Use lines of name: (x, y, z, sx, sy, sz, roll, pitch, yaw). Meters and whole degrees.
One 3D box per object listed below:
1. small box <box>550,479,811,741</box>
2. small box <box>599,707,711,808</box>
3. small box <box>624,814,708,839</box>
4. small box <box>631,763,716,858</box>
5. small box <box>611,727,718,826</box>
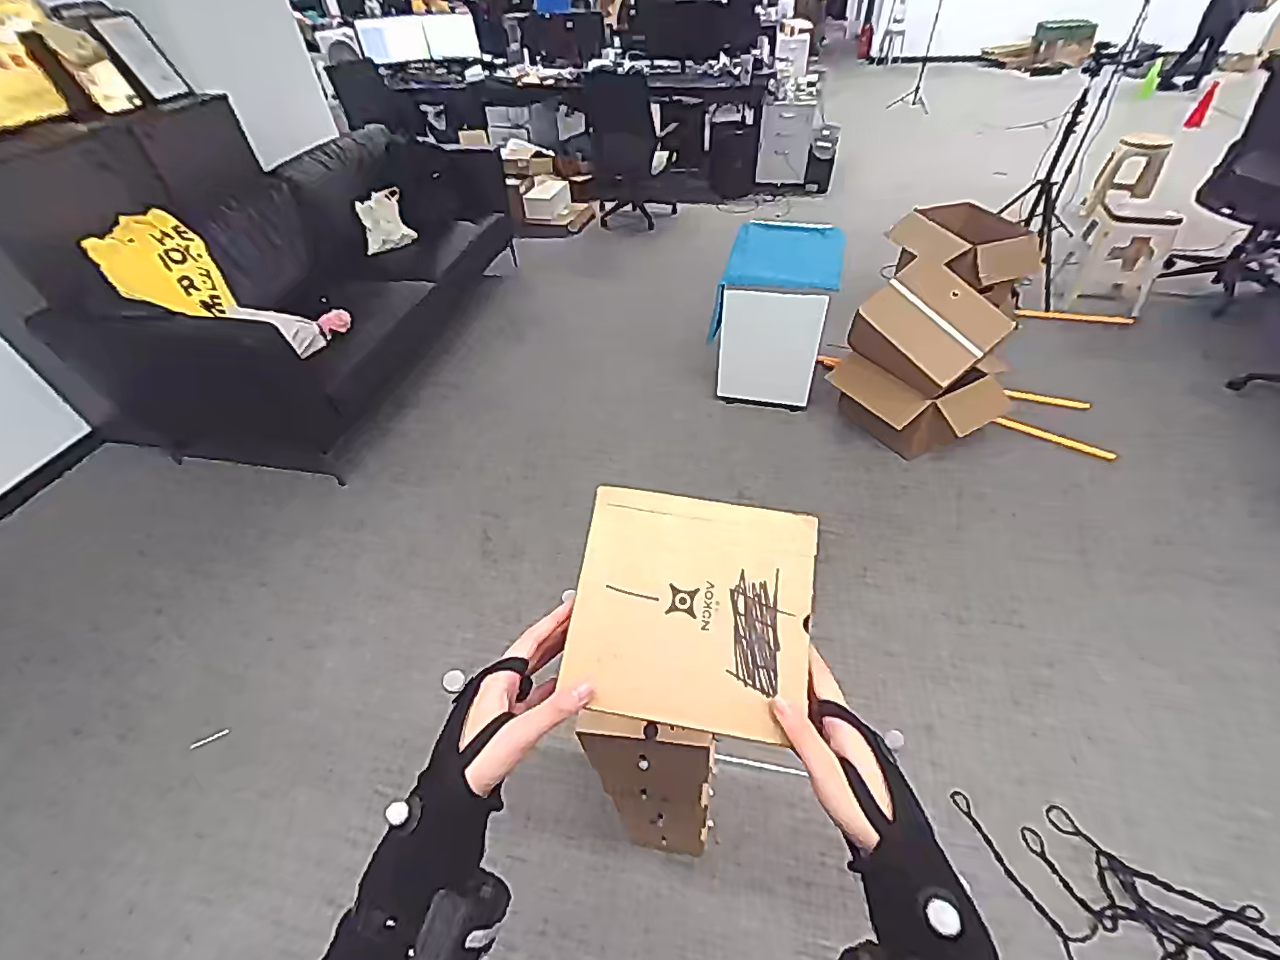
small box: (0.030, 0.117, 0.474, 0.179, 0.176, 0.168, 11, 68, 0)
small box: (0.035, 0.424, 0.913, 0.168, 0.176, 0.179, 3, 46, 9)
small box: (0.061, 0.643, 1.154, 0.179, 0.176, 0.168, 5, 46, 10)
small box: (0.082, 0.761, 1.266, 0.179, 0.176, 0.168, 5, 45, 10)
small box: (0.052, 0.538, 1.028, 0.179, 0.176, 0.168, 4, 46, 9)
